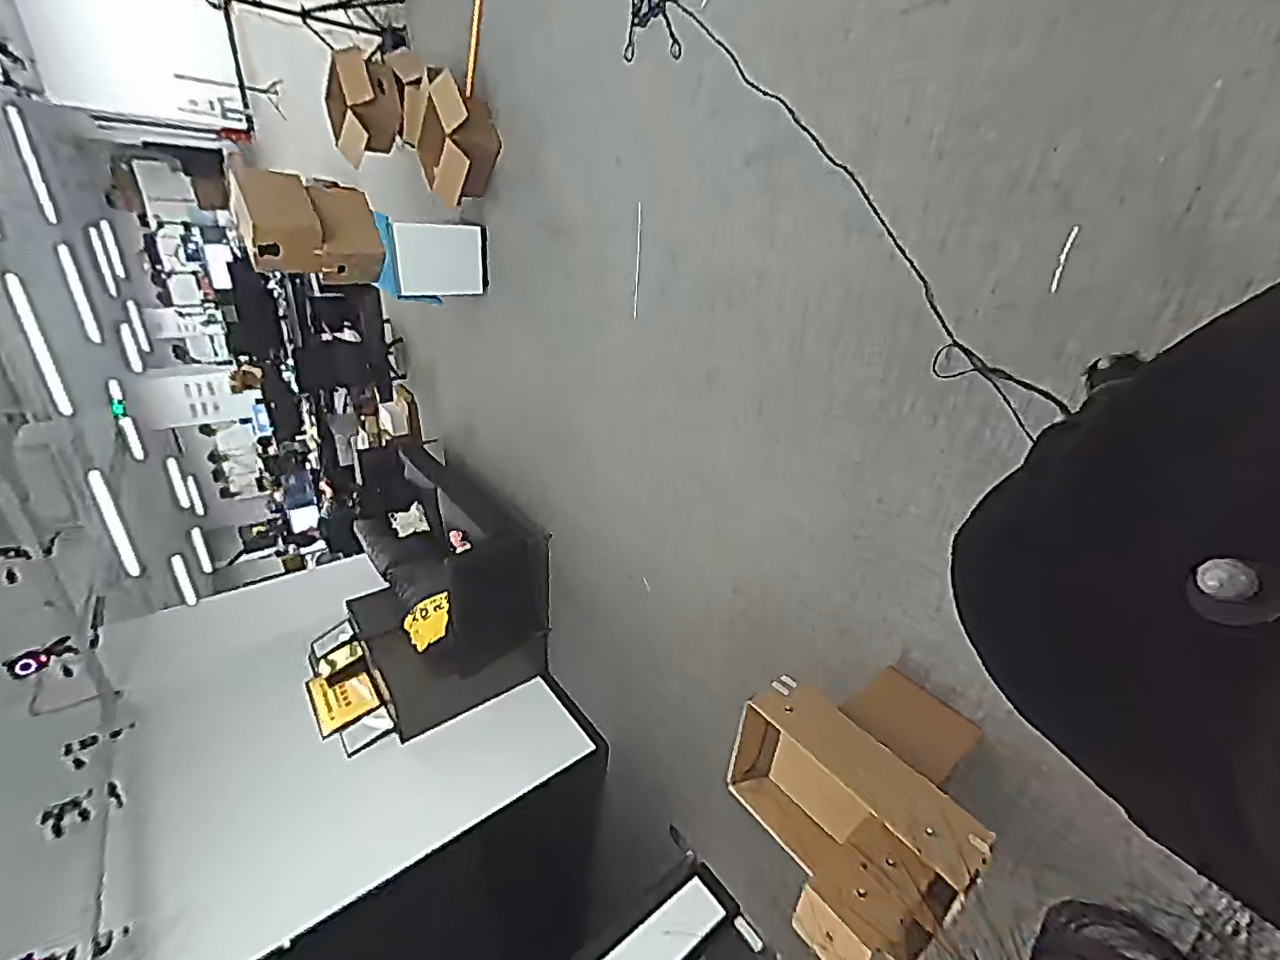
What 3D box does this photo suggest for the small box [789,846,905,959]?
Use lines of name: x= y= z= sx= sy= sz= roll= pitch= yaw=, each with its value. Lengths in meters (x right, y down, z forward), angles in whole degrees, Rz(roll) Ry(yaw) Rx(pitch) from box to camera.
small box: x=0.475 y=0.996 z=1.240 sx=0.168 sy=0.176 sz=0.179 roll=33 pitch=127 yaw=43
